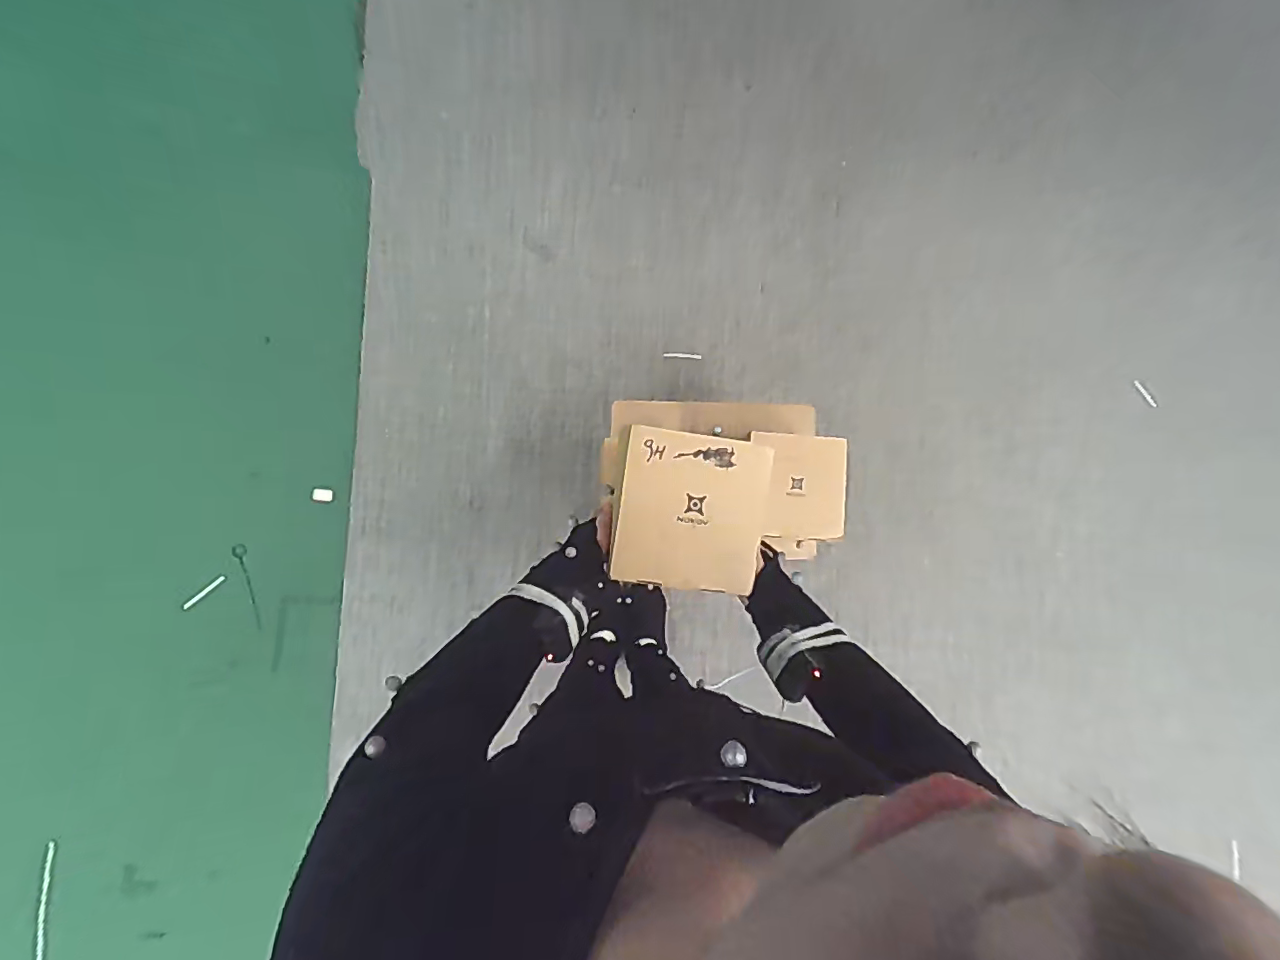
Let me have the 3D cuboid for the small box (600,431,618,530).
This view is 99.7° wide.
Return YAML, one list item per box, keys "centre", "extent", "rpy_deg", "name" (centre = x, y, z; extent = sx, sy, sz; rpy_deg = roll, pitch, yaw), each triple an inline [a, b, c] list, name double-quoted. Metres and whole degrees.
- centre: [0.016, 0.013, 0.948]
  extent: [0.168, 0.176, 0.179]
  rpy_deg: [1, 88, -6]
  name: "small box"

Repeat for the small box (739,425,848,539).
- centre: [0.252, 0.008, 0.964]
  extent: [0.168, 0.176, 0.179]
  rpy_deg: [5, 85, -3]
  name: "small box"

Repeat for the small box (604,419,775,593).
- centre: [0.048, 0.023, 0.672]
  extent: [0.168, 0.176, 0.179]
  rpy_deg: [8, 96, -8]
  name: "small box"
